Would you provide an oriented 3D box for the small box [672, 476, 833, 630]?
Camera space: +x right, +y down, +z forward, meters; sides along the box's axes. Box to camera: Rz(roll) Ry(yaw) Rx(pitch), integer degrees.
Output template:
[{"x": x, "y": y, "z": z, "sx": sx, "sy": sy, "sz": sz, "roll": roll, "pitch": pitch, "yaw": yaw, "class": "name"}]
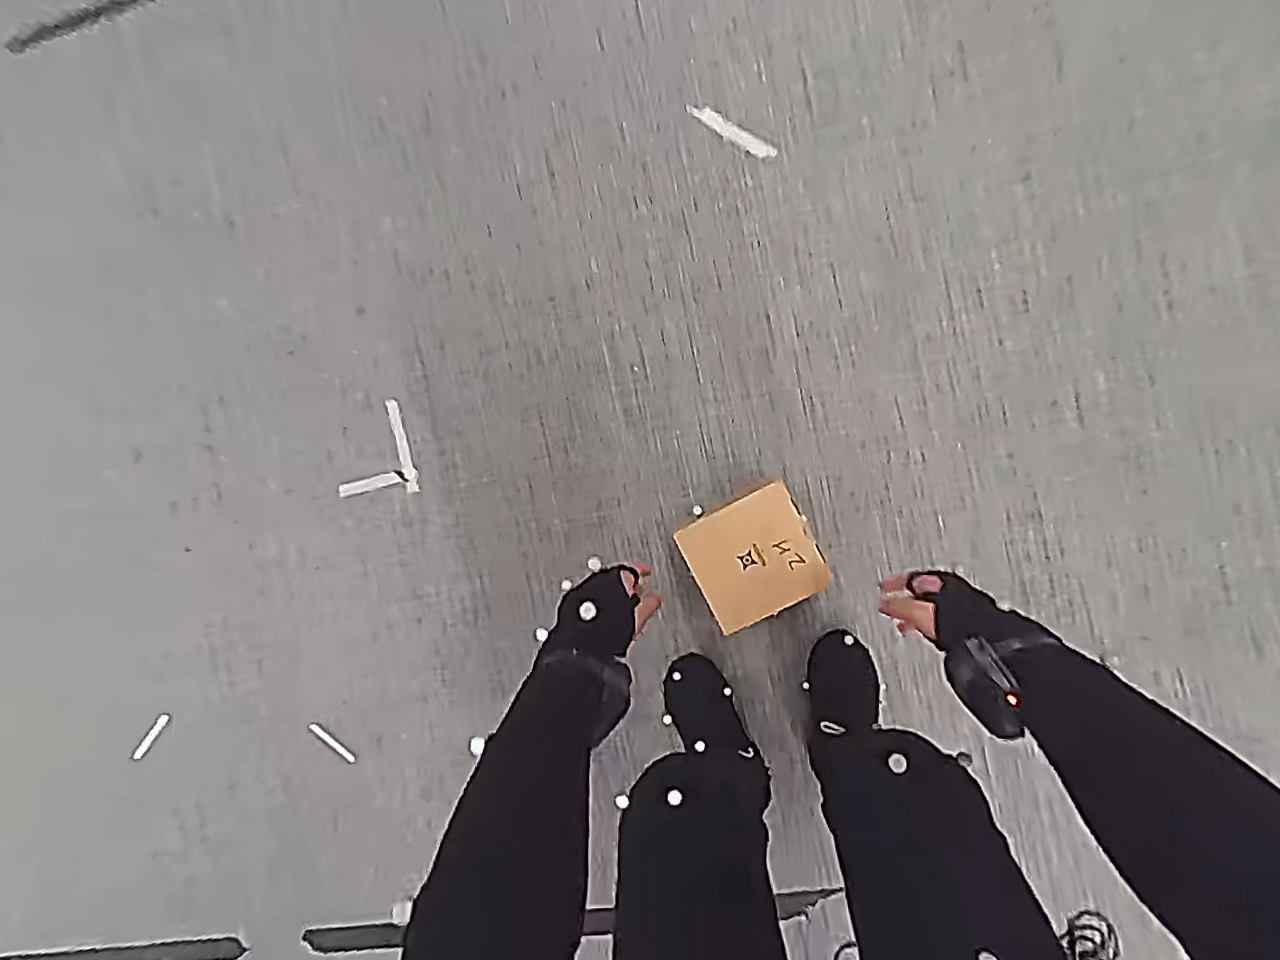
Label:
[{"x": 0.167, "y": 0.103, "z": 0.837, "sx": 0.179, "sy": 0.176, "sz": 0.168, "roll": -28, "pitch": 88, "yaw": 7, "class": "small box"}]
